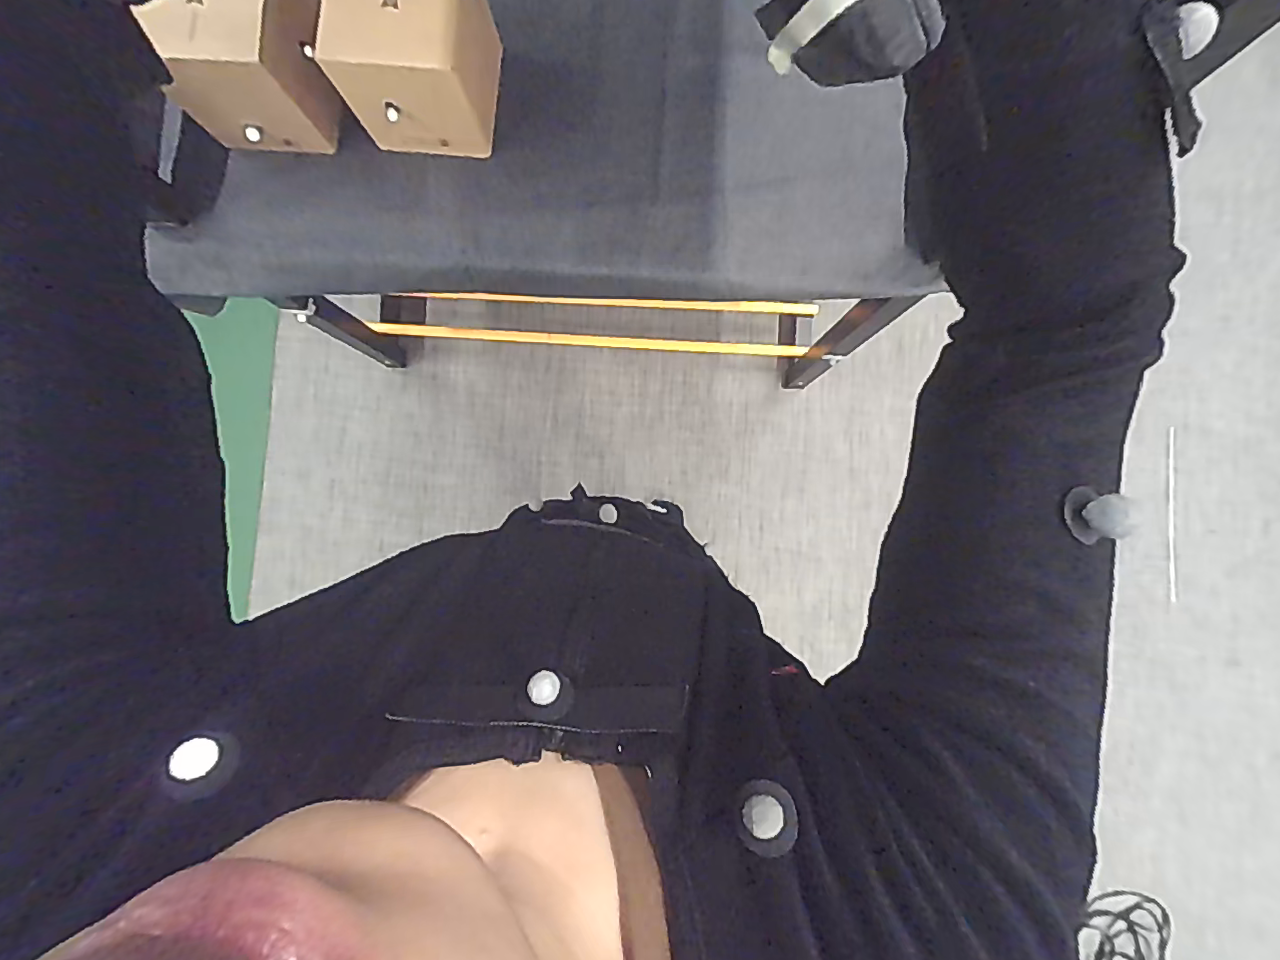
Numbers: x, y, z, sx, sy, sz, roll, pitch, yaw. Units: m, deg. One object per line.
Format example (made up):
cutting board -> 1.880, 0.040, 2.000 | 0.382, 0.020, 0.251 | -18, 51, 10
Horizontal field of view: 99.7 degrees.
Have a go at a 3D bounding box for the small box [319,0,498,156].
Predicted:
small box -> -0.297, -0.574, 0.730 | 0.168, 0.176, 0.179 | 4, 86, 0

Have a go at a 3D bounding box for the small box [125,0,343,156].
small box -> -0.525, -0.579, 0.727 | 0.168, 0.176, 0.179 | 3, 87, 0
